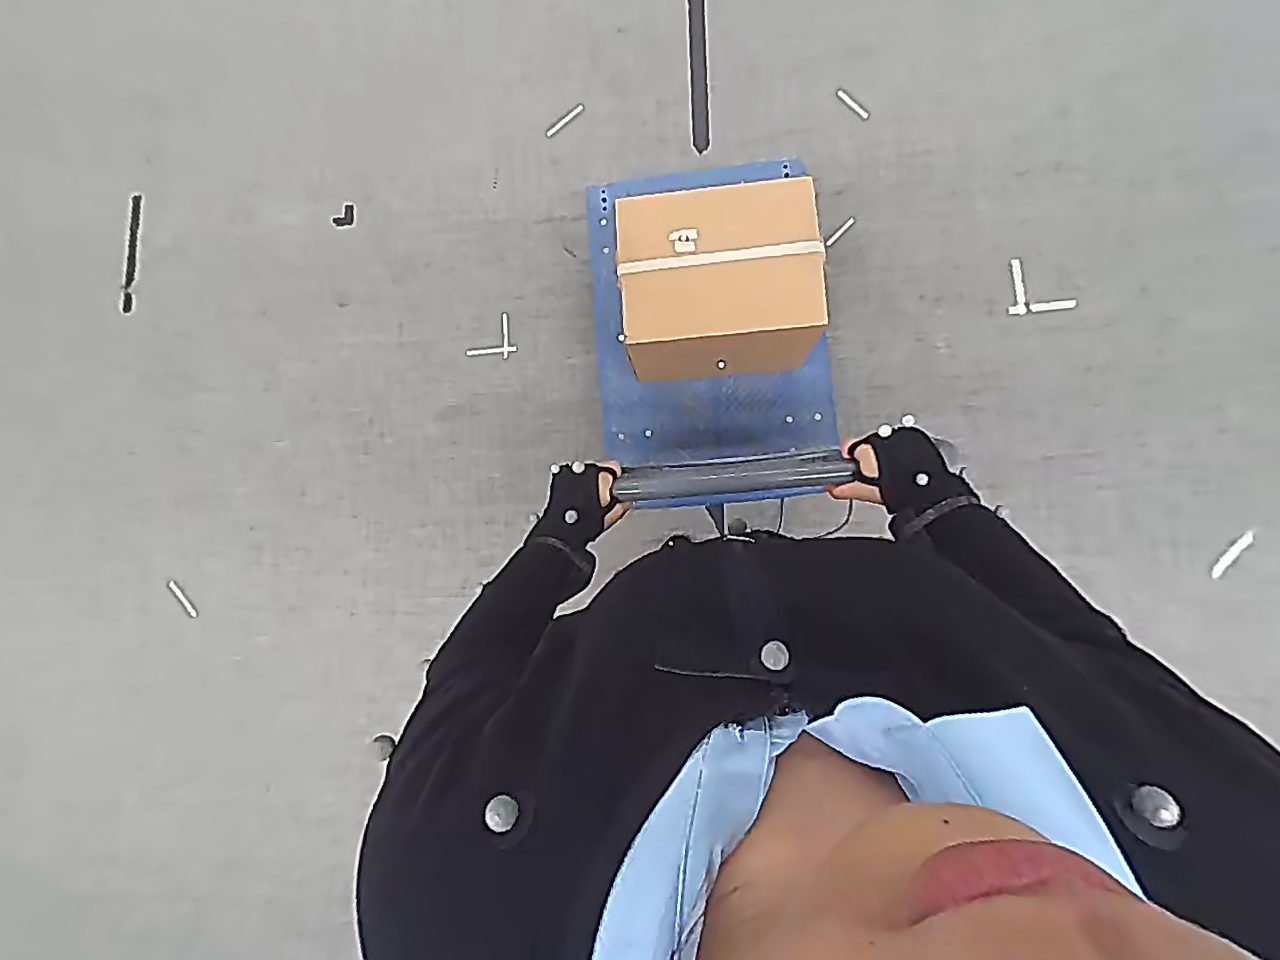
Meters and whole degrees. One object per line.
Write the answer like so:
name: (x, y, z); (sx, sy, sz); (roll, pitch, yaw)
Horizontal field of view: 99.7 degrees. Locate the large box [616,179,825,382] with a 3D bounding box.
large box: (0.175, -0.431, 1.249); (0.408, 0.320, 0.320); (-5, 83, 6)
